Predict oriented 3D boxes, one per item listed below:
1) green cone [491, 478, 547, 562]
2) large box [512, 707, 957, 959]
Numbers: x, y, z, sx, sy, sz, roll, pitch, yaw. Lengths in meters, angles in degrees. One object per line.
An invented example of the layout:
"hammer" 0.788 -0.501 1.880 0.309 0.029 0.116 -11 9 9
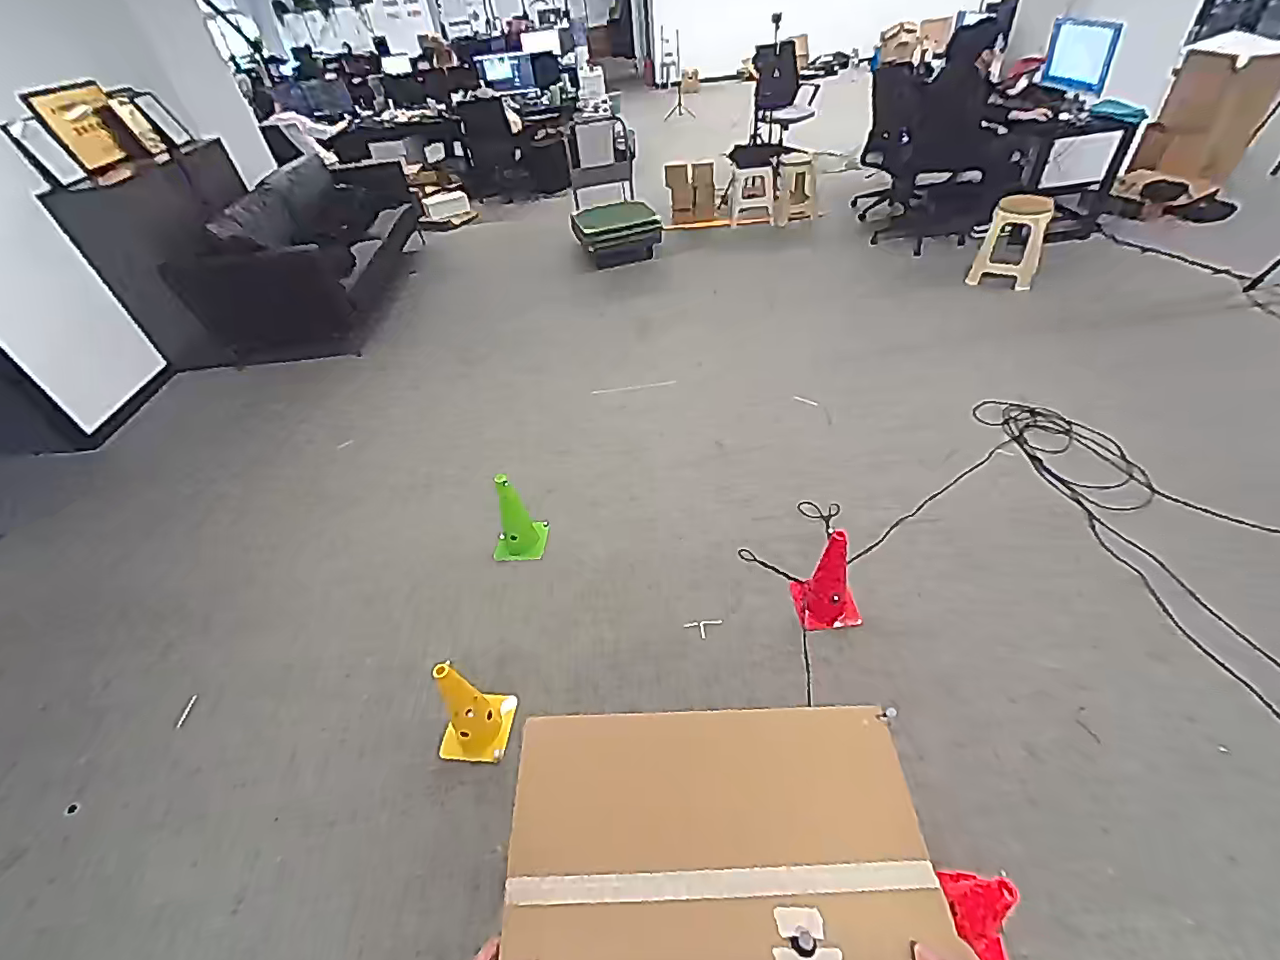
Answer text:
"green cone" -0.508 0.131 2.093 0.200 0.368 0.202 -3 44 5
"large box" 0.081 0.485 0.627 0.408 0.320 0.320 -2 49 -1
